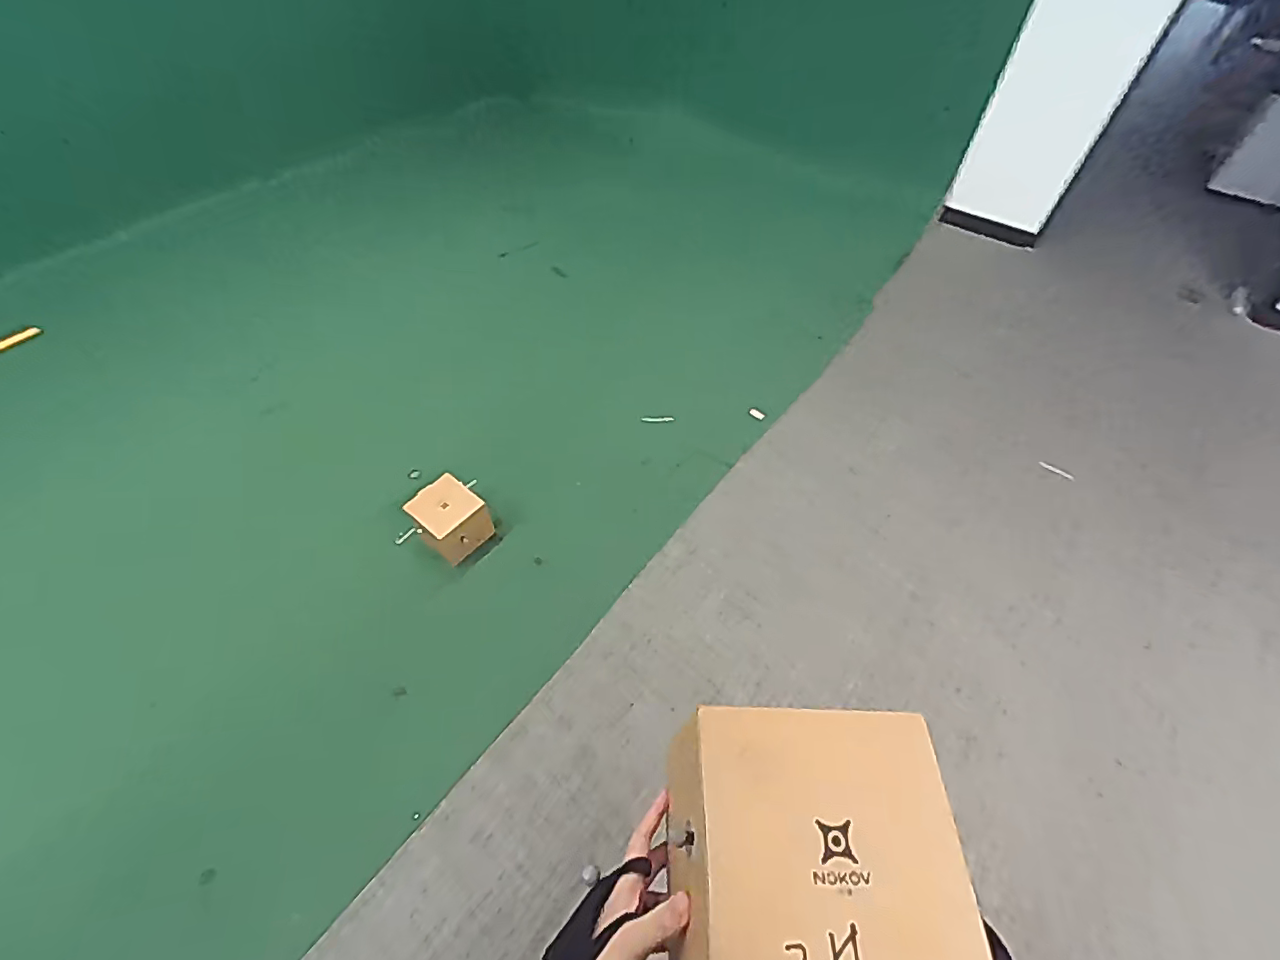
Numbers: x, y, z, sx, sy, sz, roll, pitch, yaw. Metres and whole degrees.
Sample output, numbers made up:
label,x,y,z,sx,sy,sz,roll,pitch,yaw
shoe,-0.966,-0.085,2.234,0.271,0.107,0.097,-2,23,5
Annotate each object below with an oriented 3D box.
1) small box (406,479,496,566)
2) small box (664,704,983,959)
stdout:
label,x,y,z,sx,sy,sz,roll,pitch,yaw
small box,-0.561,0.136,1.633,0.179,0.176,0.168,33,59,23
small box,0.110,0.281,0.401,0.168,0.176,0.179,3,55,-4
